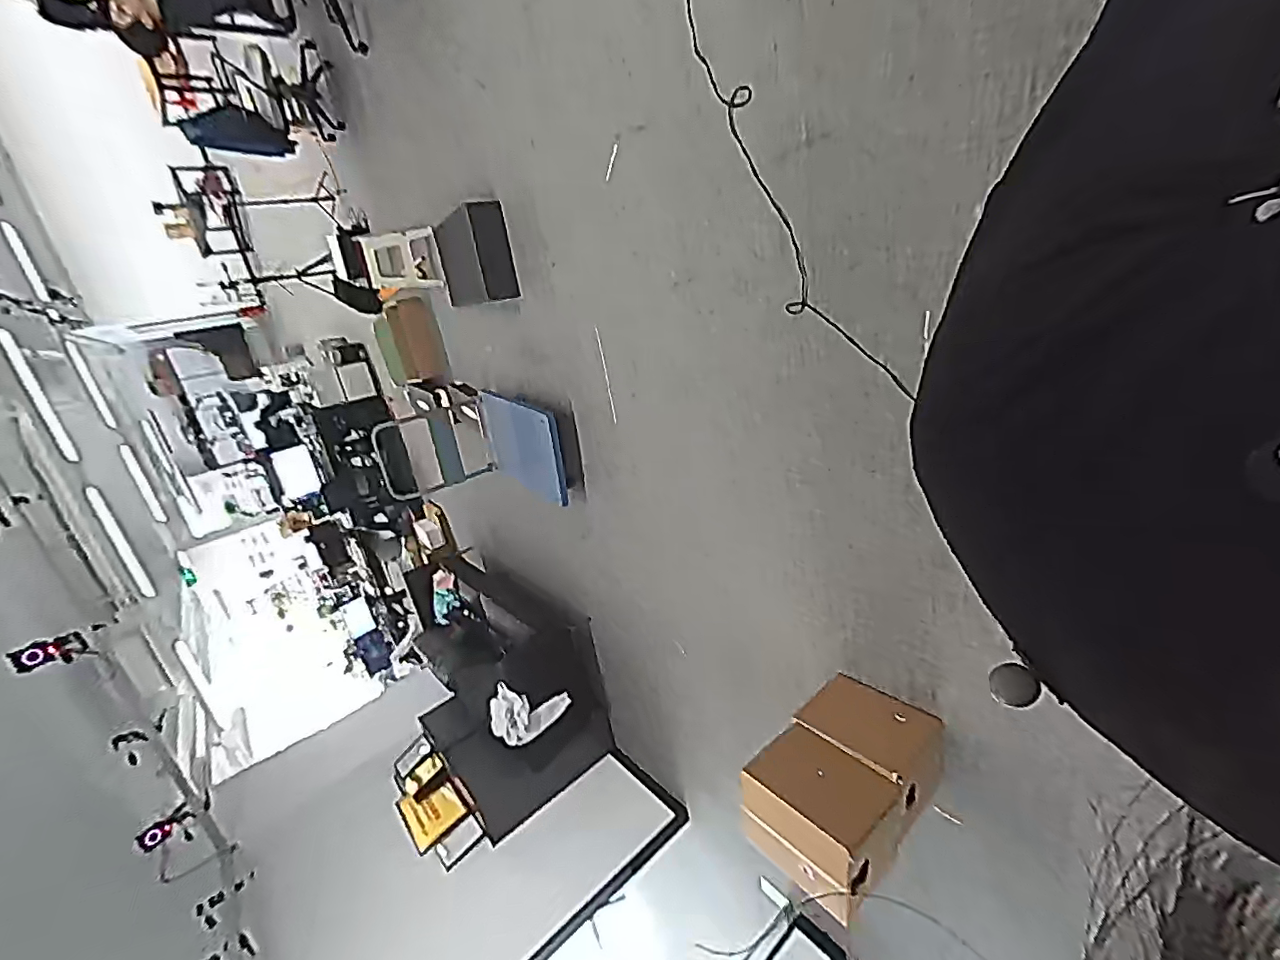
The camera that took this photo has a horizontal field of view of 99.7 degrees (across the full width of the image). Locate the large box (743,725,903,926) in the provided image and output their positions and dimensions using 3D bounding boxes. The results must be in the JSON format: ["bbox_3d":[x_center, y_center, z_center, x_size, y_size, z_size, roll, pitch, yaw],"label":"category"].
[{"bbox_3d":[0.592,1.102,1.784,0.408,0.320,0.320,16,118,48],"label":"large box"}]
